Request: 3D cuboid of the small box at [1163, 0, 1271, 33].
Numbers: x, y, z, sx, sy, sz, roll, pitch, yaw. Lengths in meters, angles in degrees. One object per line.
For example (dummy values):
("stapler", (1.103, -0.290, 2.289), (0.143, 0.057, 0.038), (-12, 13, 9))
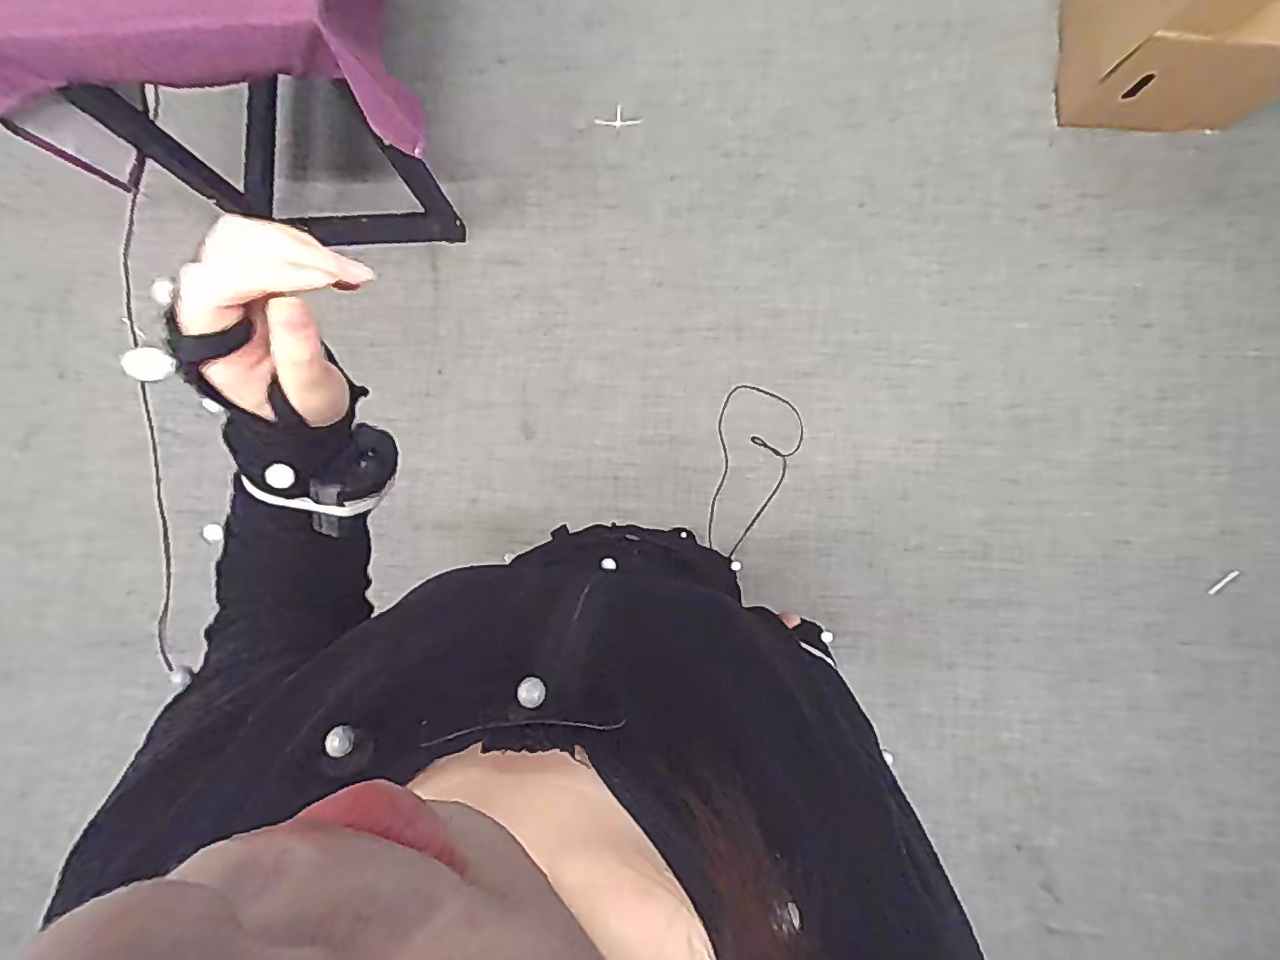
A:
("small box", (1.312, -1.133, 1.185), (0.179, 0.176, 0.168), (10, 87, 1))
